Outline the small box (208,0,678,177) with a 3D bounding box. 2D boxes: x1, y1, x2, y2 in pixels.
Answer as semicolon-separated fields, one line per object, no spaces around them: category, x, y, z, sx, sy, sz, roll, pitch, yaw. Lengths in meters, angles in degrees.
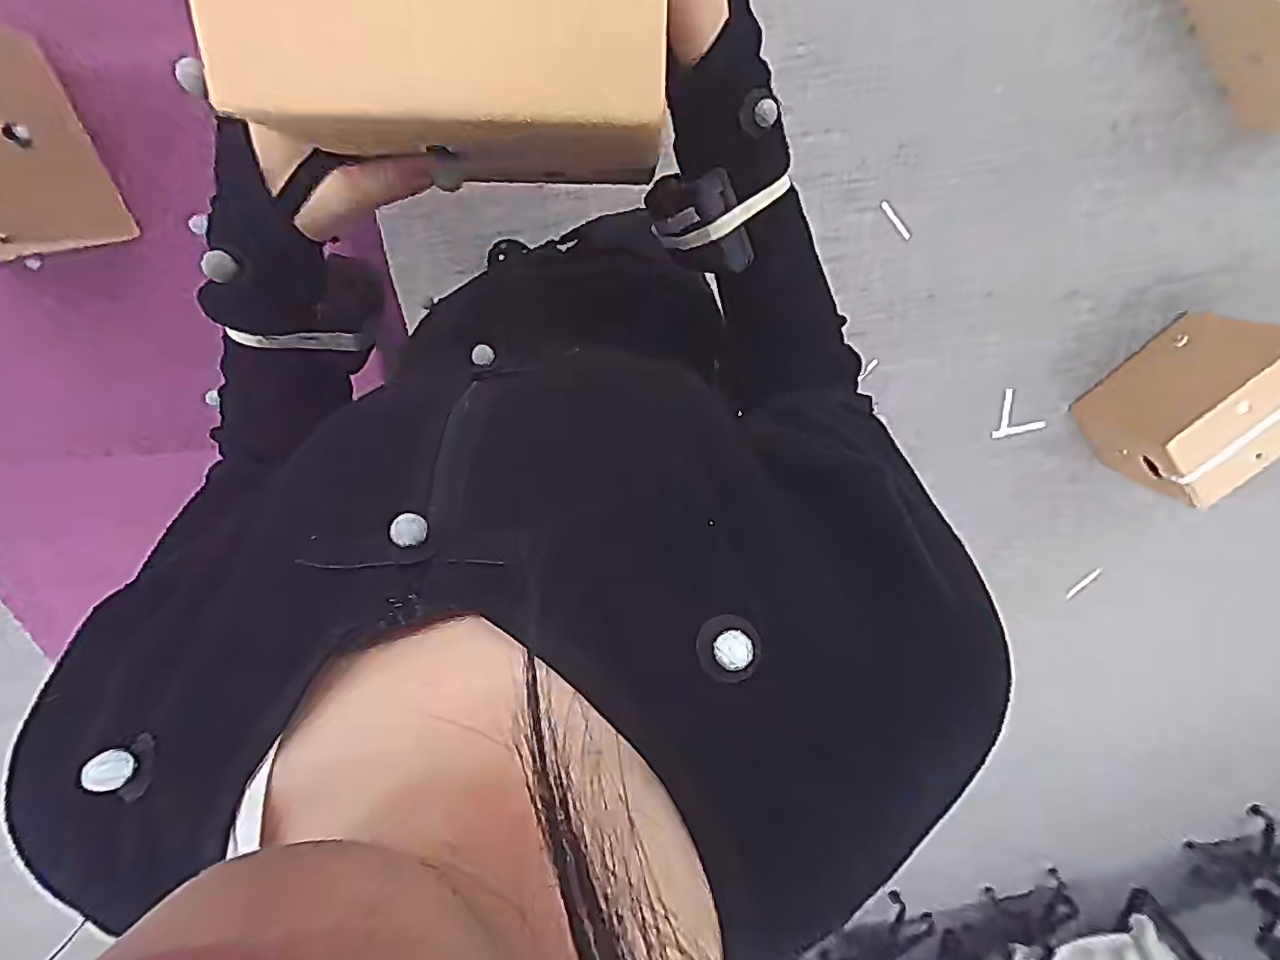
small box;-0.064;-0.248;0.241;0.168;0.176;0.179;1;108;0
